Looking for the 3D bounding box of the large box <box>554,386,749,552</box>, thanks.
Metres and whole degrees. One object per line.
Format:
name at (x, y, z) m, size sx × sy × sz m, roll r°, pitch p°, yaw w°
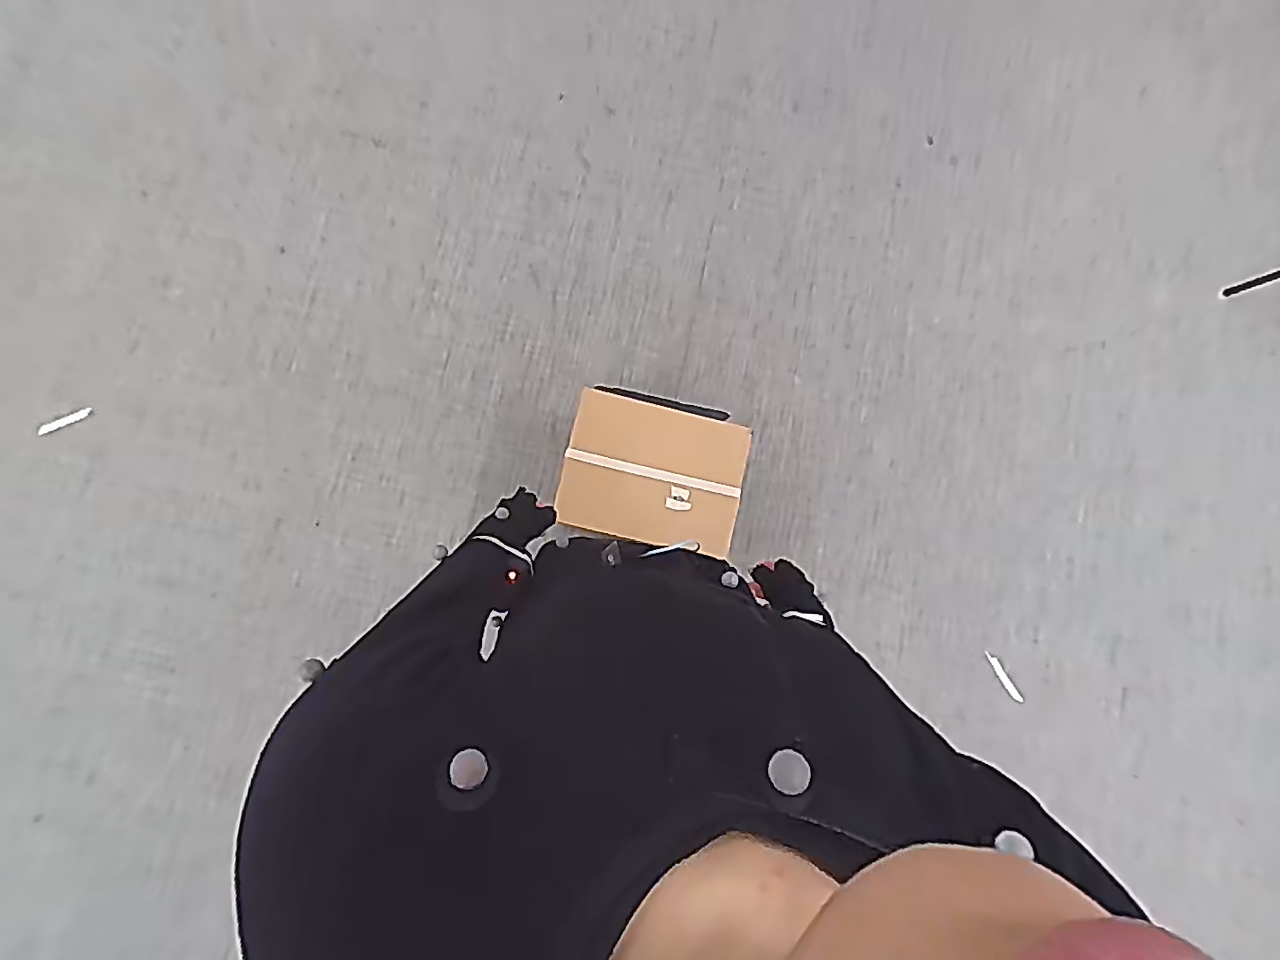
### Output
large box at (0.014, -0.009, 1.377) m, size 0.408 × 0.320 × 0.320 m, roll 14°, pitch 83°, yaw -4°
